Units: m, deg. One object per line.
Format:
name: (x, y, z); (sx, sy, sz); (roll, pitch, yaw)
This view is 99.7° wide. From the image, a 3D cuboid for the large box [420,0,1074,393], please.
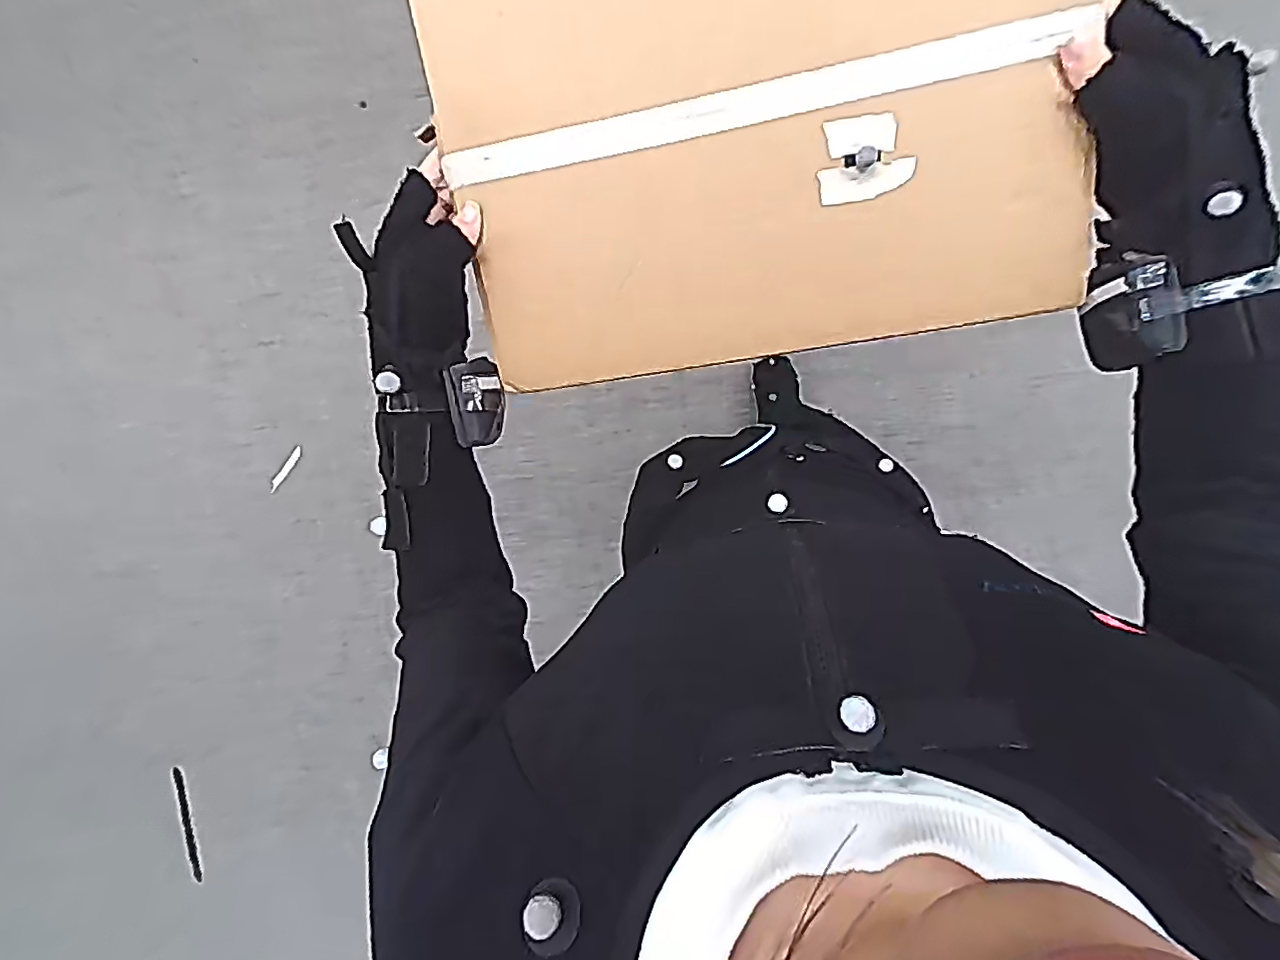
large box: (0.081, -0.285, 0.499); (0.408, 0.320, 0.320); (-8, 107, 7)
